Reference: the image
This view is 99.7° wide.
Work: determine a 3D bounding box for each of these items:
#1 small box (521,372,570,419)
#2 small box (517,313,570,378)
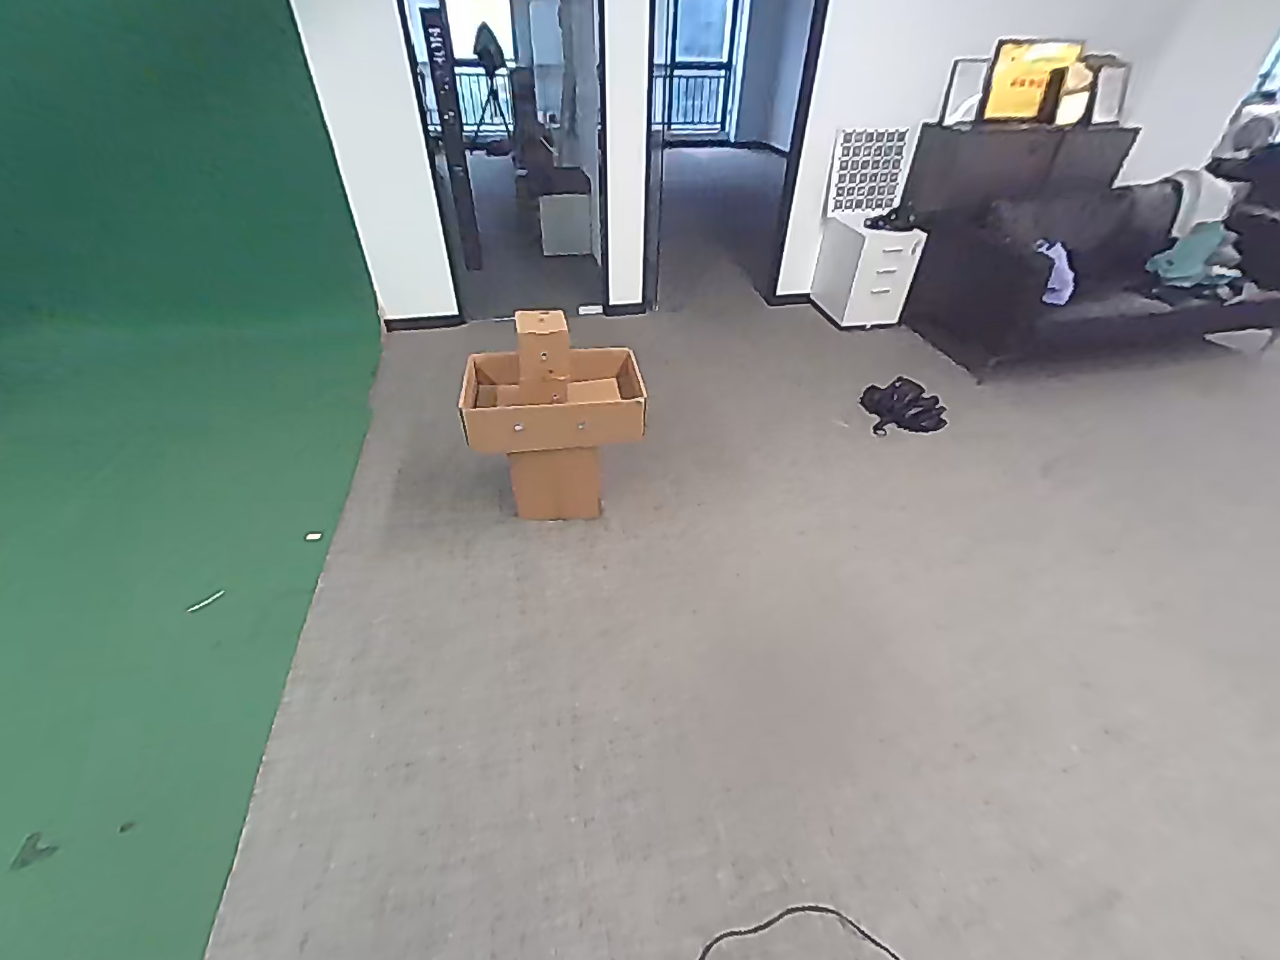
[{"bbox_3d":[-0.344,-0.330,1.964,0.168,0.176,0.179,-3,37,-10],"label":"small box"},{"bbox_3d":[-0.333,-0.463,1.868,0.168,0.176,0.179,-5,40,-12],"label":"small box"}]
